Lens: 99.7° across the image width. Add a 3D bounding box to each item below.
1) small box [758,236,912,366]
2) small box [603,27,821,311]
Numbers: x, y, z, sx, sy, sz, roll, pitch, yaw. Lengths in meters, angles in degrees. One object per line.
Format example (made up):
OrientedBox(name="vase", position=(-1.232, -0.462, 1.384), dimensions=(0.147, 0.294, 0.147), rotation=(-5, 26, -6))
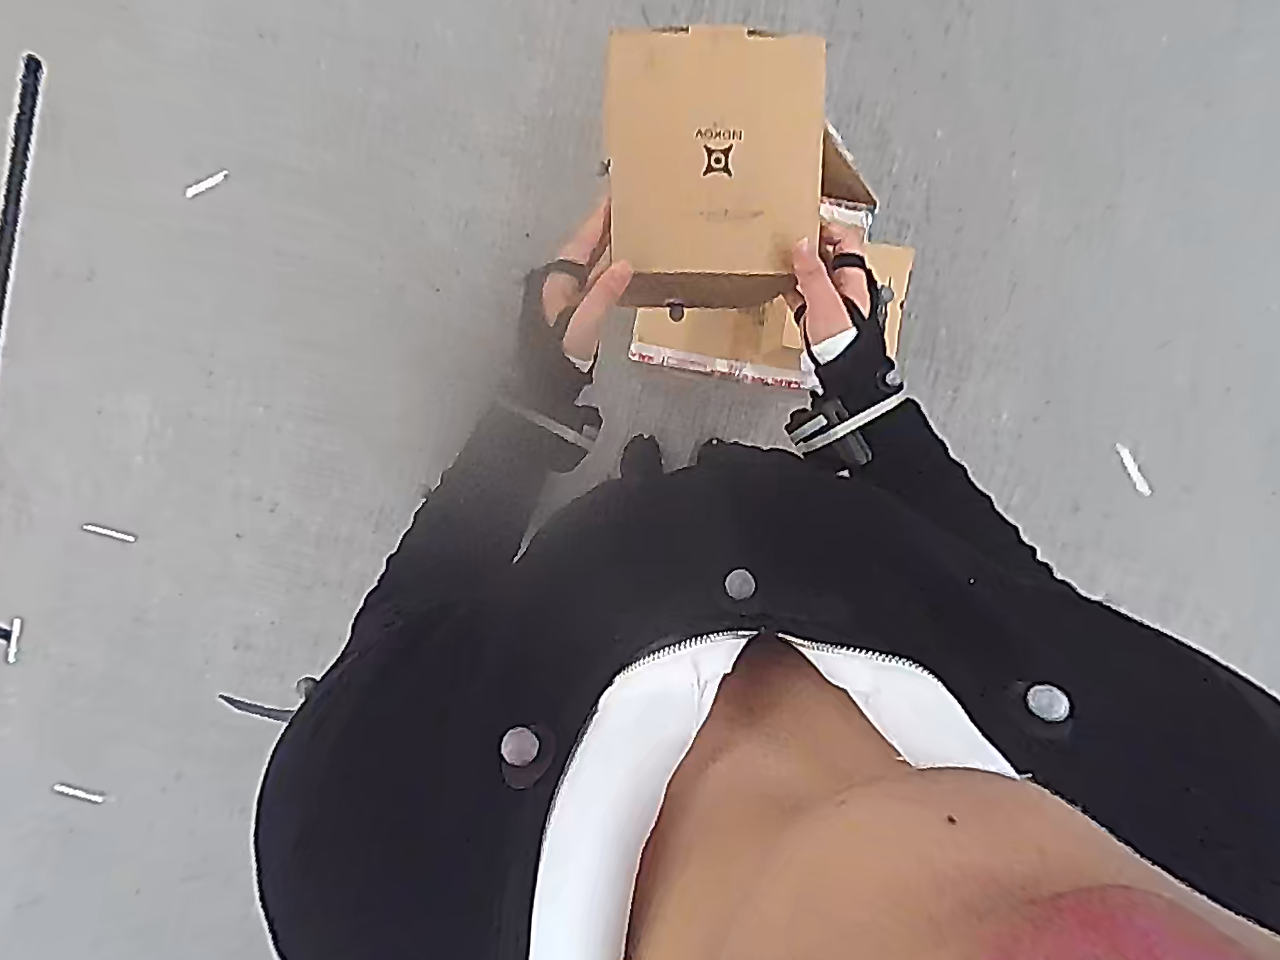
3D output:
OrientedBox(name="small box", position=(0.308, -0.283, 0.888), dimensions=(0.179, 0.176, 0.168), rotation=(8, 97, 0))
OrientedBox(name="small box", position=(0.051, -0.261, 0.495), dimensions=(0.168, 0.176, 0.179), rotation=(-1, 98, -4))
